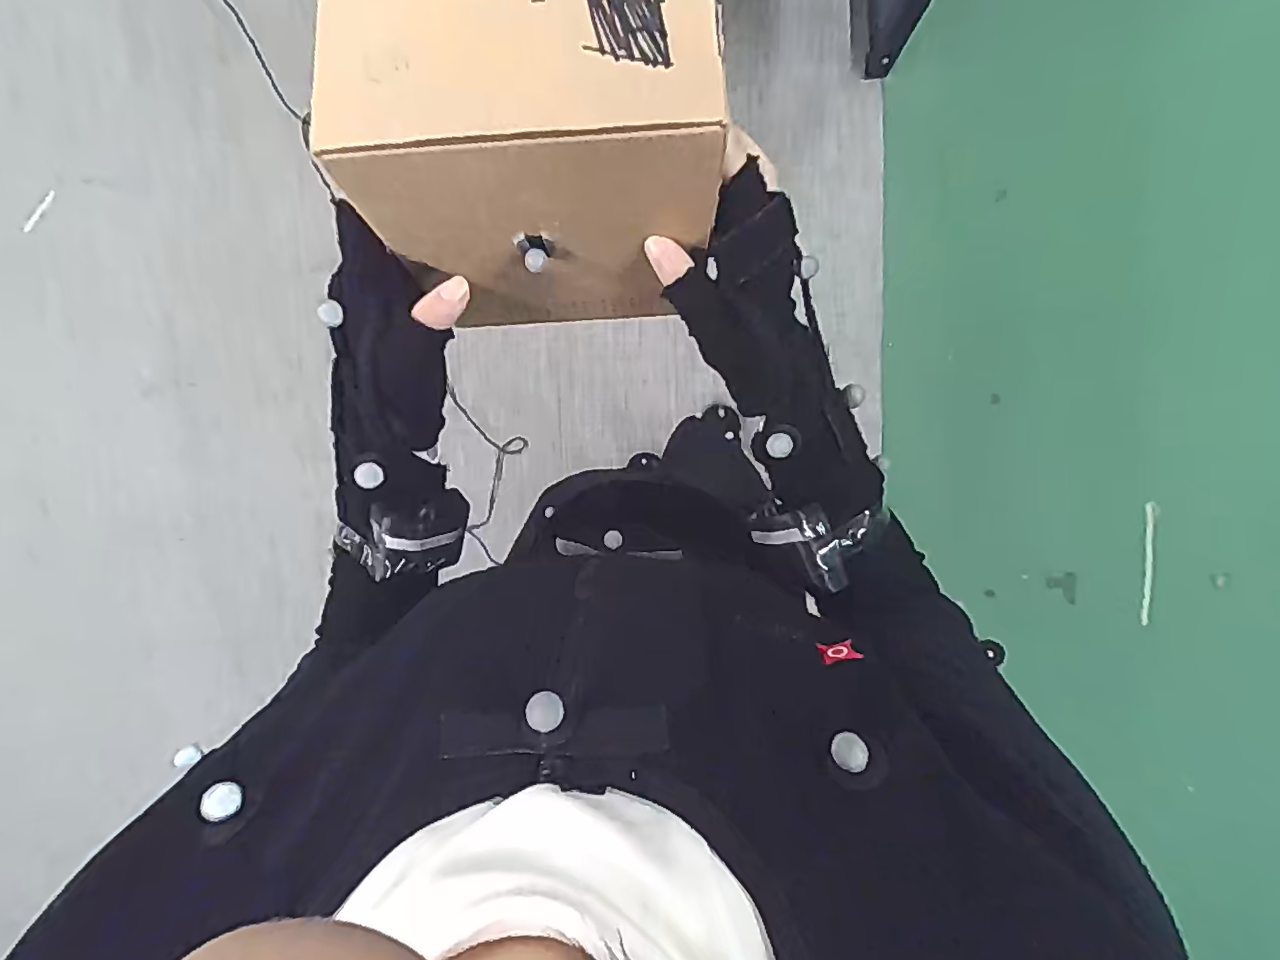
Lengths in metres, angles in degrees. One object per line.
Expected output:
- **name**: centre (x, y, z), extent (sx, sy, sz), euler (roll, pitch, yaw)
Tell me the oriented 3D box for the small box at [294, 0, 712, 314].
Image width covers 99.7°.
- **small box**: centre (-0.057, -0.211, 0.314), extent (0.179, 0.176, 0.168), euler (-2, 80, 2)
